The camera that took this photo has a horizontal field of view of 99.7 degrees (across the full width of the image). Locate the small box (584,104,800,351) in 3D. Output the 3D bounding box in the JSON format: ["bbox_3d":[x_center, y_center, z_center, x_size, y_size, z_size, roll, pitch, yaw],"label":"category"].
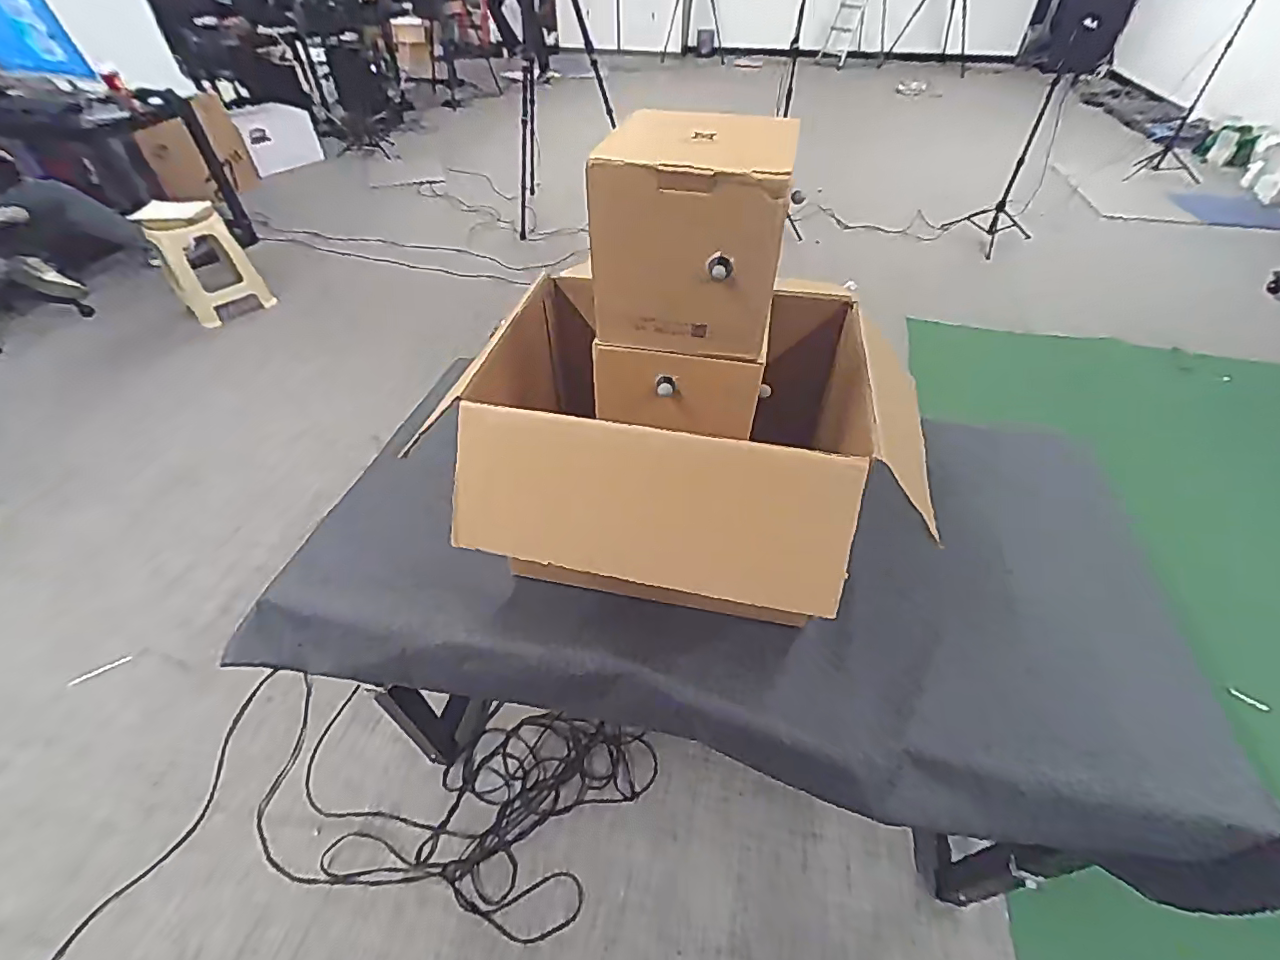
[{"bbox_3d":[0.053,-0.247,0.530,0.168,0.176,0.179,10,46,9],"label":"small box"}]

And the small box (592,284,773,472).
[{"bbox_3d":[0.052,-0.129,0.642,0.179,0.176,0.168,9,47,8],"label":"small box"}]
